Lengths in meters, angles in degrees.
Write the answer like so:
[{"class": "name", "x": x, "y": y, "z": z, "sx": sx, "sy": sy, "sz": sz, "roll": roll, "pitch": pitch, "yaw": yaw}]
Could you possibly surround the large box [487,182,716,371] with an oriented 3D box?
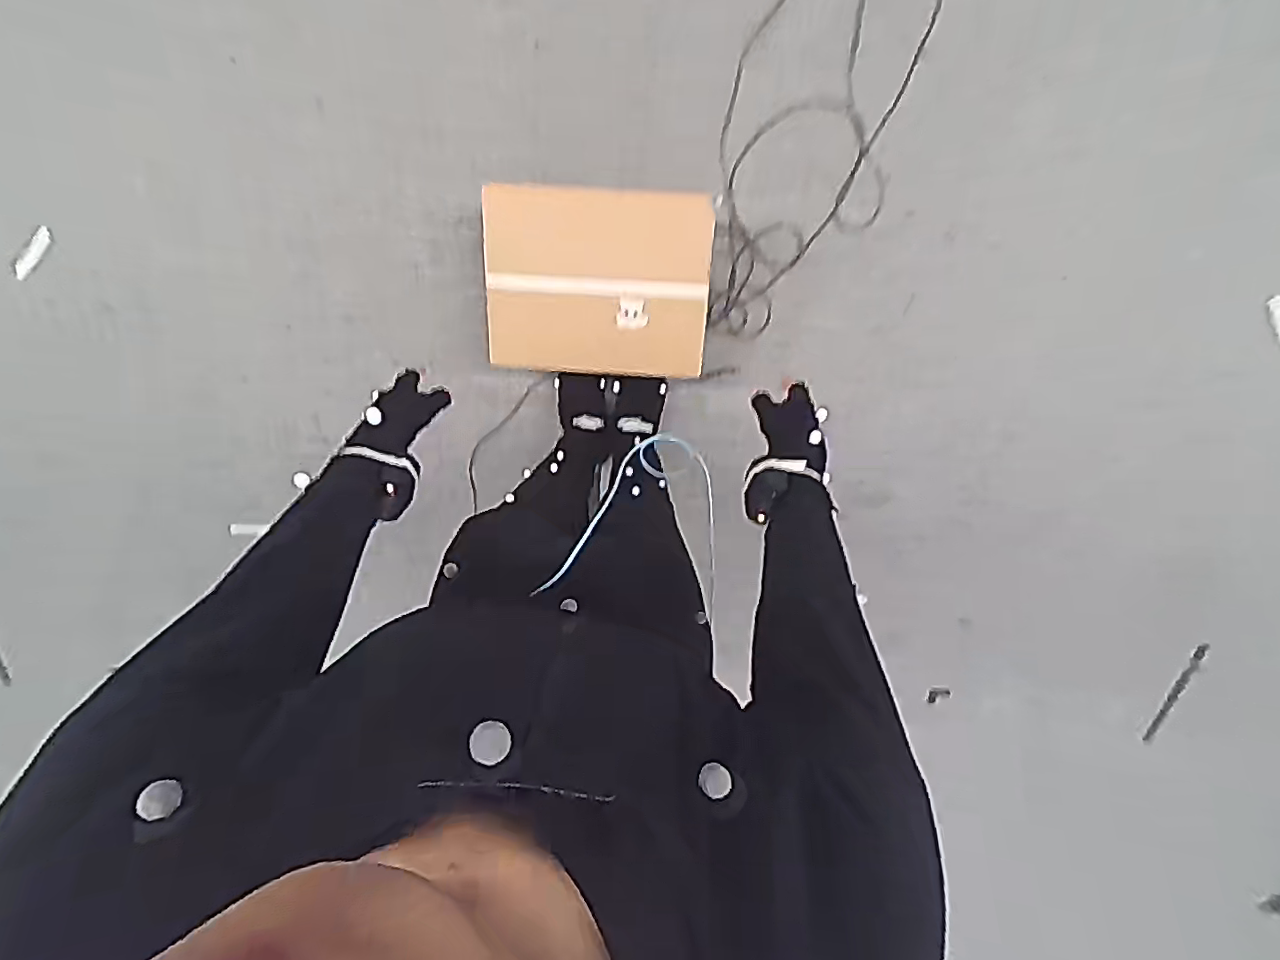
[{"class": "large box", "x": -0.071, "y": -0.415, "z": 1.124, "sx": 0.408, "sy": 0.320, "sz": 0.320, "roll": 3, "pitch": 112, "yaw": 0}]
